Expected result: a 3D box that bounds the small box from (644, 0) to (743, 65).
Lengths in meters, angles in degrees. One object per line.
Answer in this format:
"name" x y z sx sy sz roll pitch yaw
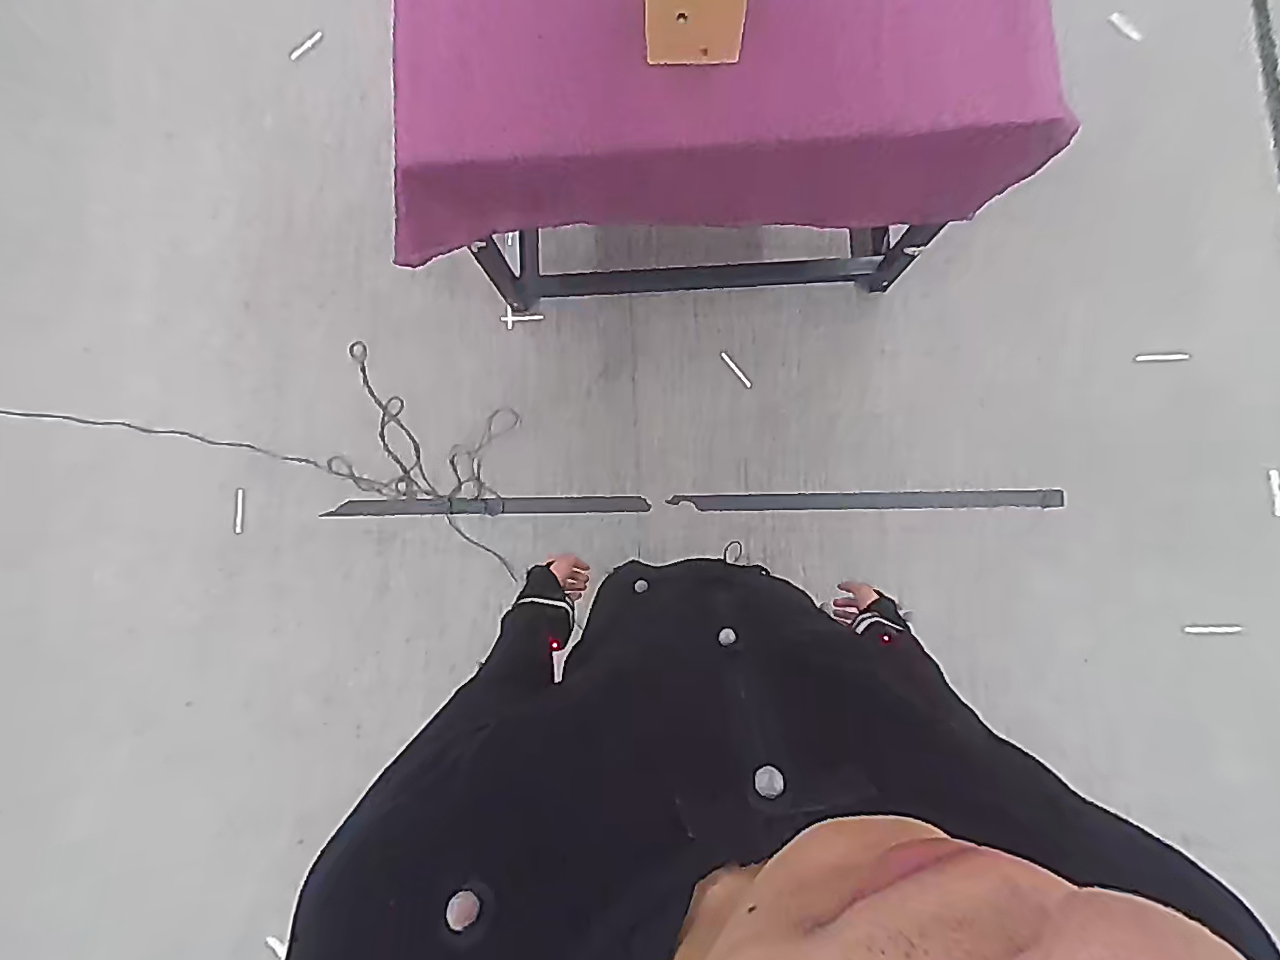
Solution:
"small box" 0.094 -0.857 0.929 0.168 0.176 0.179 1 84 3
